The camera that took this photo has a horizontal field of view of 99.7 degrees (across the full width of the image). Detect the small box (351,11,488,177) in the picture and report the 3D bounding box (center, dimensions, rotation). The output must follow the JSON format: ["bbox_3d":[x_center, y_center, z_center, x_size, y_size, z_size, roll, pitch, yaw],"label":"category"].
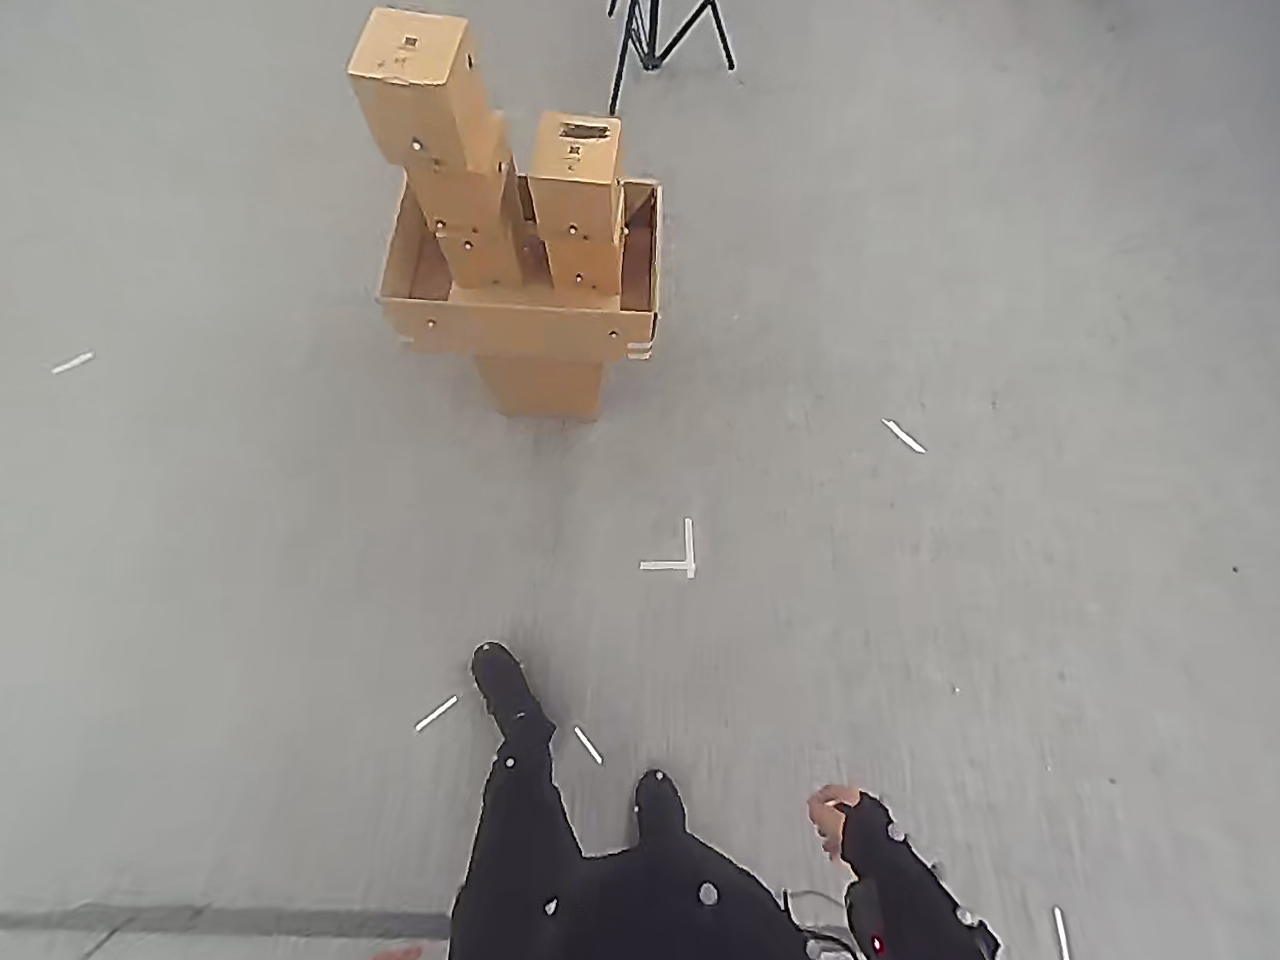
[{"bbox_3d":[-0.386,-0.695,0.985,0.168,0.176,0.179,7,71,0],"label":"small box"}]

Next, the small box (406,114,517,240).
[{"bbox_3d":[-0.364,-0.638,1.140,0.168,0.176,0.179,7,70,-1],"label":"small box"}]

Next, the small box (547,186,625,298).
[{"bbox_3d":[-0.125,-0.569,1.302,0.168,0.176,0.179,4,71,0],"label":"small box"}]
